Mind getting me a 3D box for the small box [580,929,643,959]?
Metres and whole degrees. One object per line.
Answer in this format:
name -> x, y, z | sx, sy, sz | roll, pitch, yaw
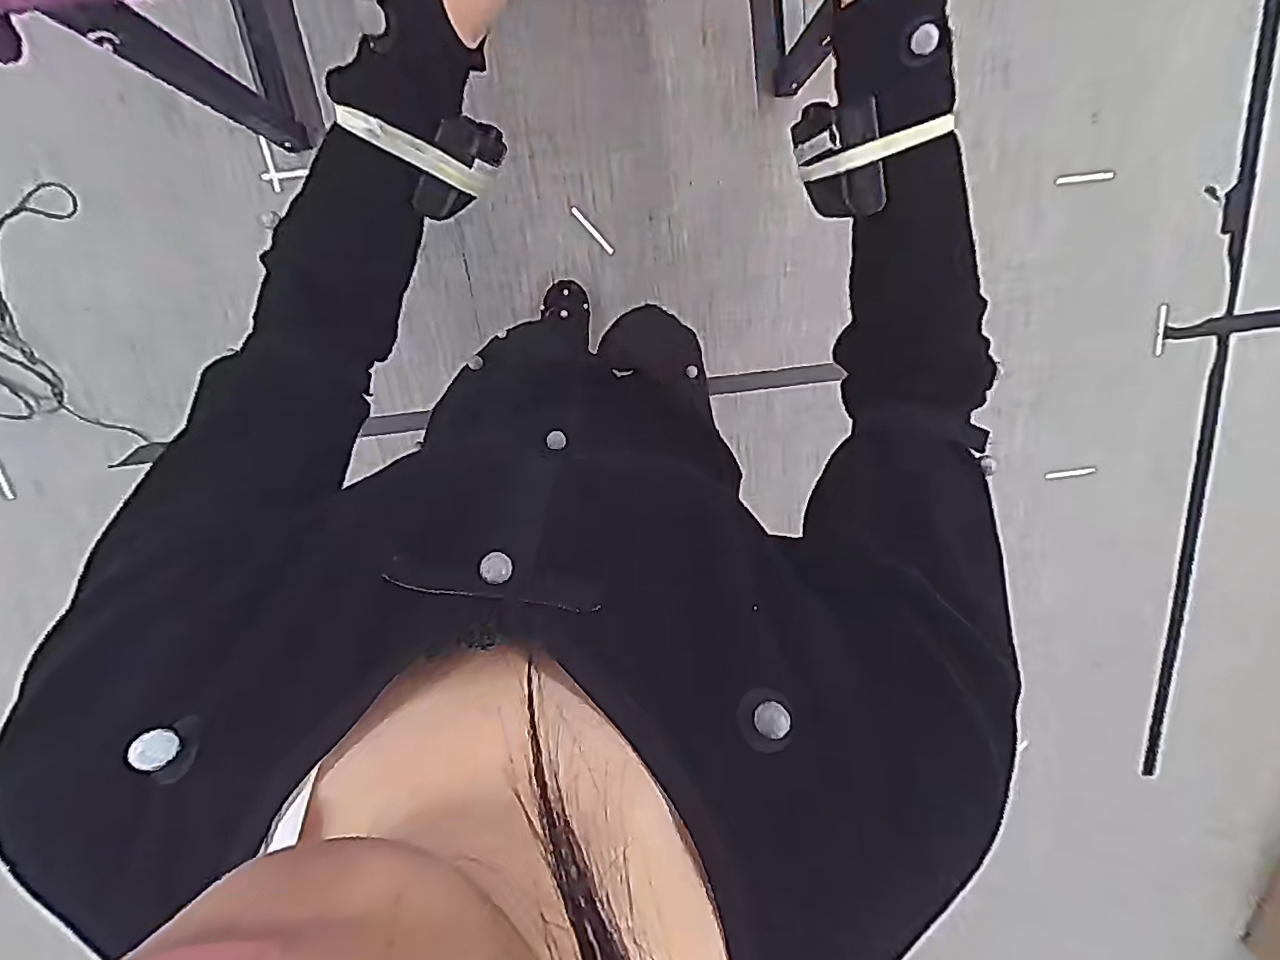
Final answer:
small box -> -0.074, 1.403, 1.508 | 0.179, 0.176, 0.168 | -9, 104, -1
